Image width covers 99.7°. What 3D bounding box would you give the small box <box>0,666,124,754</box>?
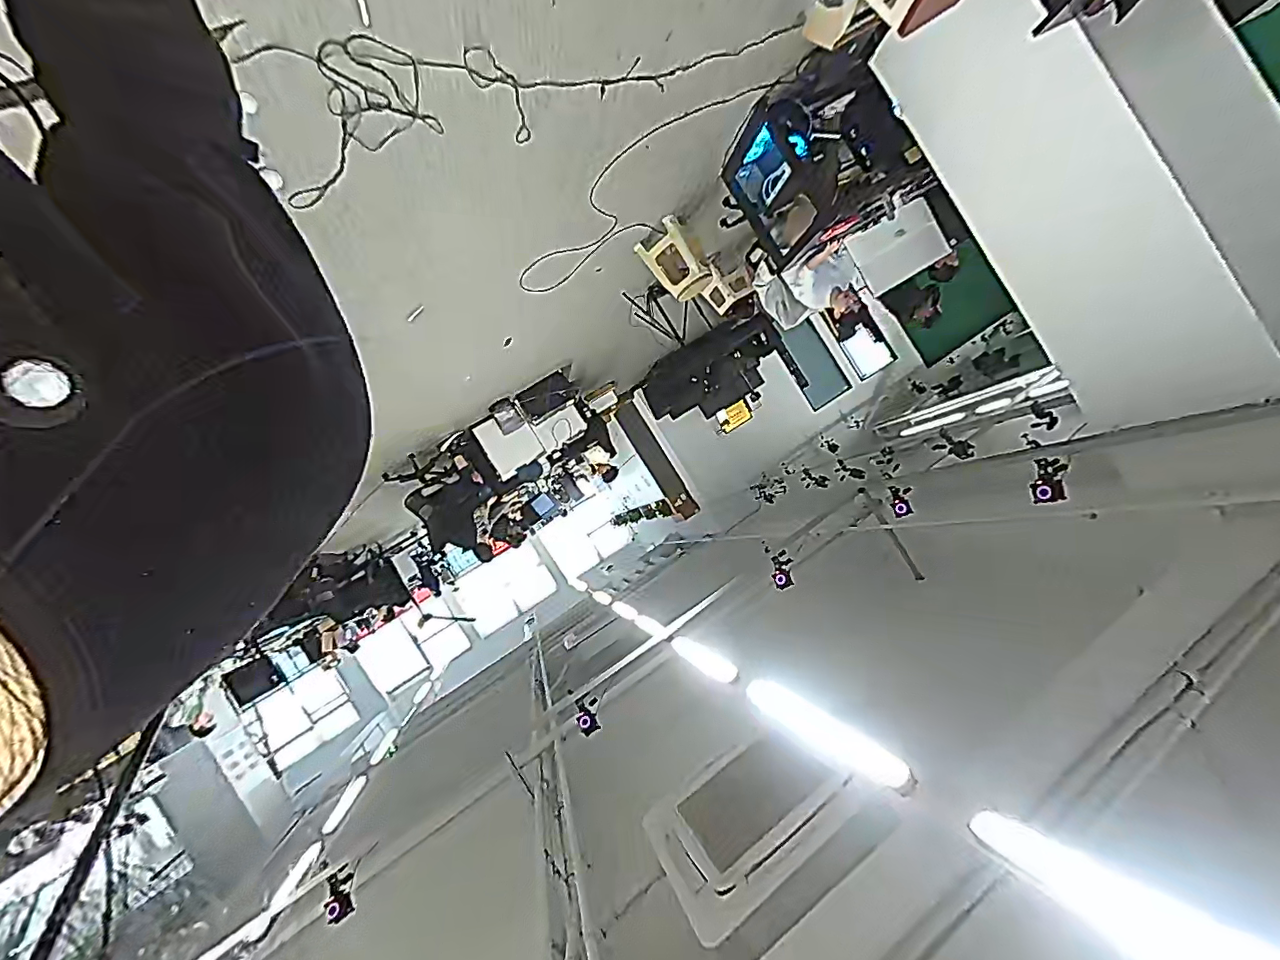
[{"bbox_3d":[-1.767,0.693,1.660,0.168,0.176,0.179,-33,-179,-20],"label":"small box"}]

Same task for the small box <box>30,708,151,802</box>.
[{"bbox_3d":[-1.677,0.830,1.654,0.168,0.176,0.179,-33,-179,-20],"label":"small box"}]
